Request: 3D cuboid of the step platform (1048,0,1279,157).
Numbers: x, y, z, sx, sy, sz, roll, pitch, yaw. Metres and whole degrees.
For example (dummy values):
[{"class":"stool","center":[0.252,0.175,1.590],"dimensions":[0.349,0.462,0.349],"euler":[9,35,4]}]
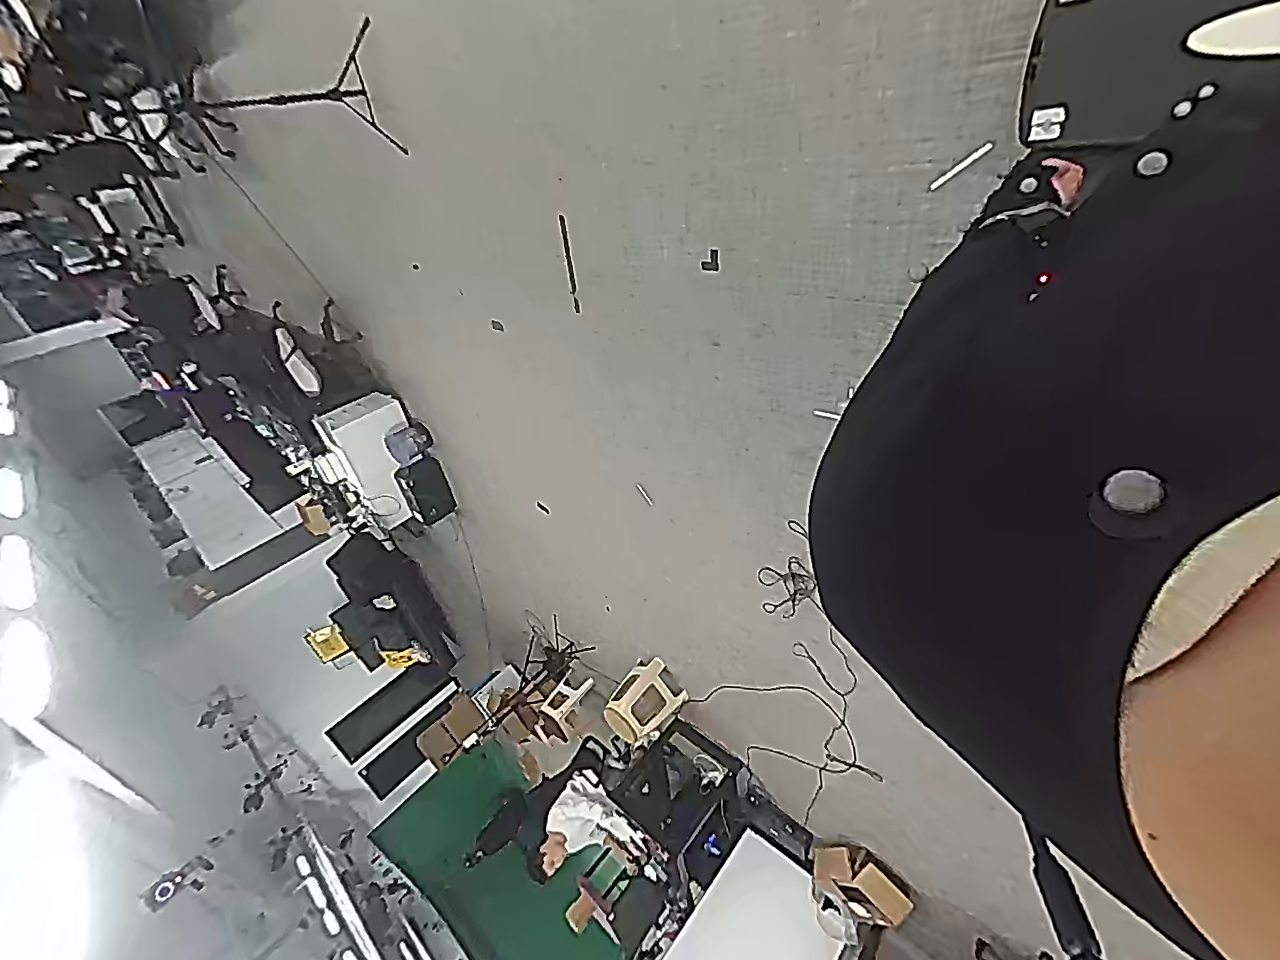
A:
[{"class":"step platform","center":[1.024,-0.641,0.782],"dimensions":[0.684,0.204,0.286],"euler":[26,136,33]}]
